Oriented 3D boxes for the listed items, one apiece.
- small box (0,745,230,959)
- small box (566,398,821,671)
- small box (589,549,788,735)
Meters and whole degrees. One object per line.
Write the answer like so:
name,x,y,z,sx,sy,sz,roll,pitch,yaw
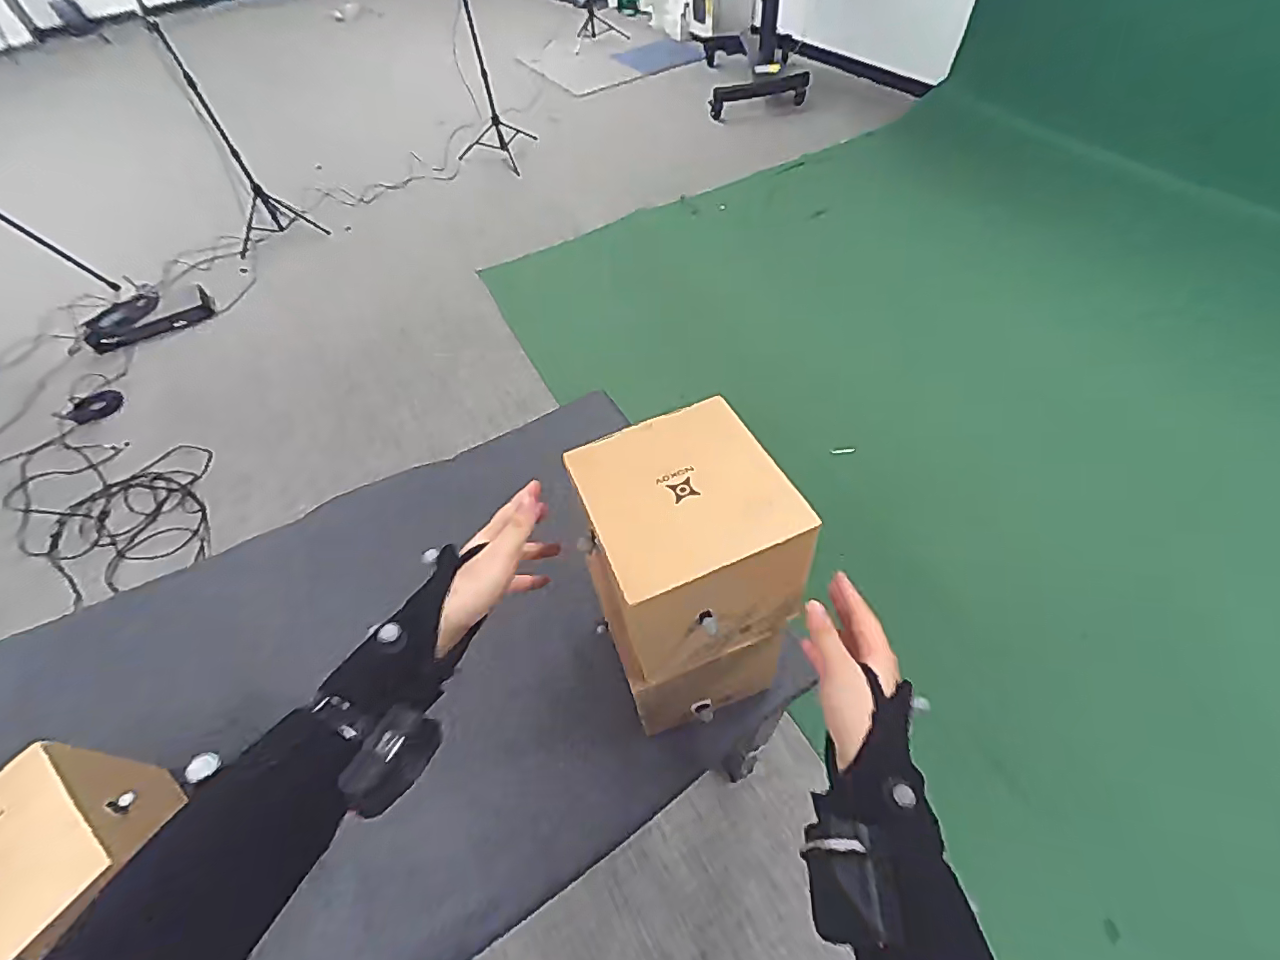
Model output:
small box,-0.561,0.398,0.527,0.179,0.176,0.168,28,59,24
small box,0.047,0.059,0.517,0.168,0.176,0.179,-21,50,-9
small box,0.052,0.168,0.638,0.168,0.176,0.179,-20,52,-8
